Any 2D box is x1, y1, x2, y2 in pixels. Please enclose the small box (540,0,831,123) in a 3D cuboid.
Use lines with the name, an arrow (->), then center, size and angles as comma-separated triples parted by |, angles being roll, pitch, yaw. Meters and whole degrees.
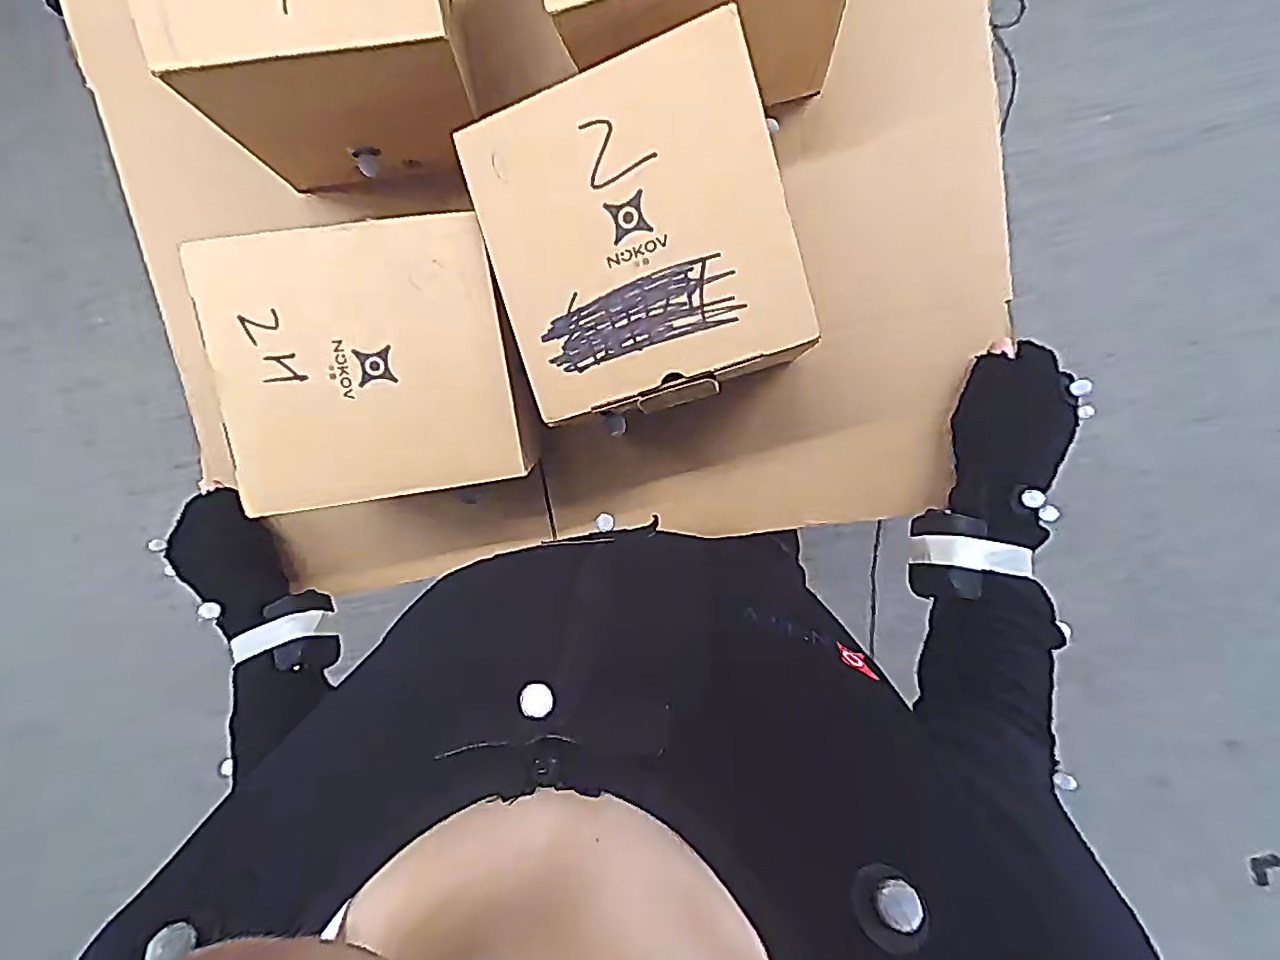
small box -> 0.030, -0.359, 0.339 | 0.168, 0.176, 0.179 | -7, 97, 12
